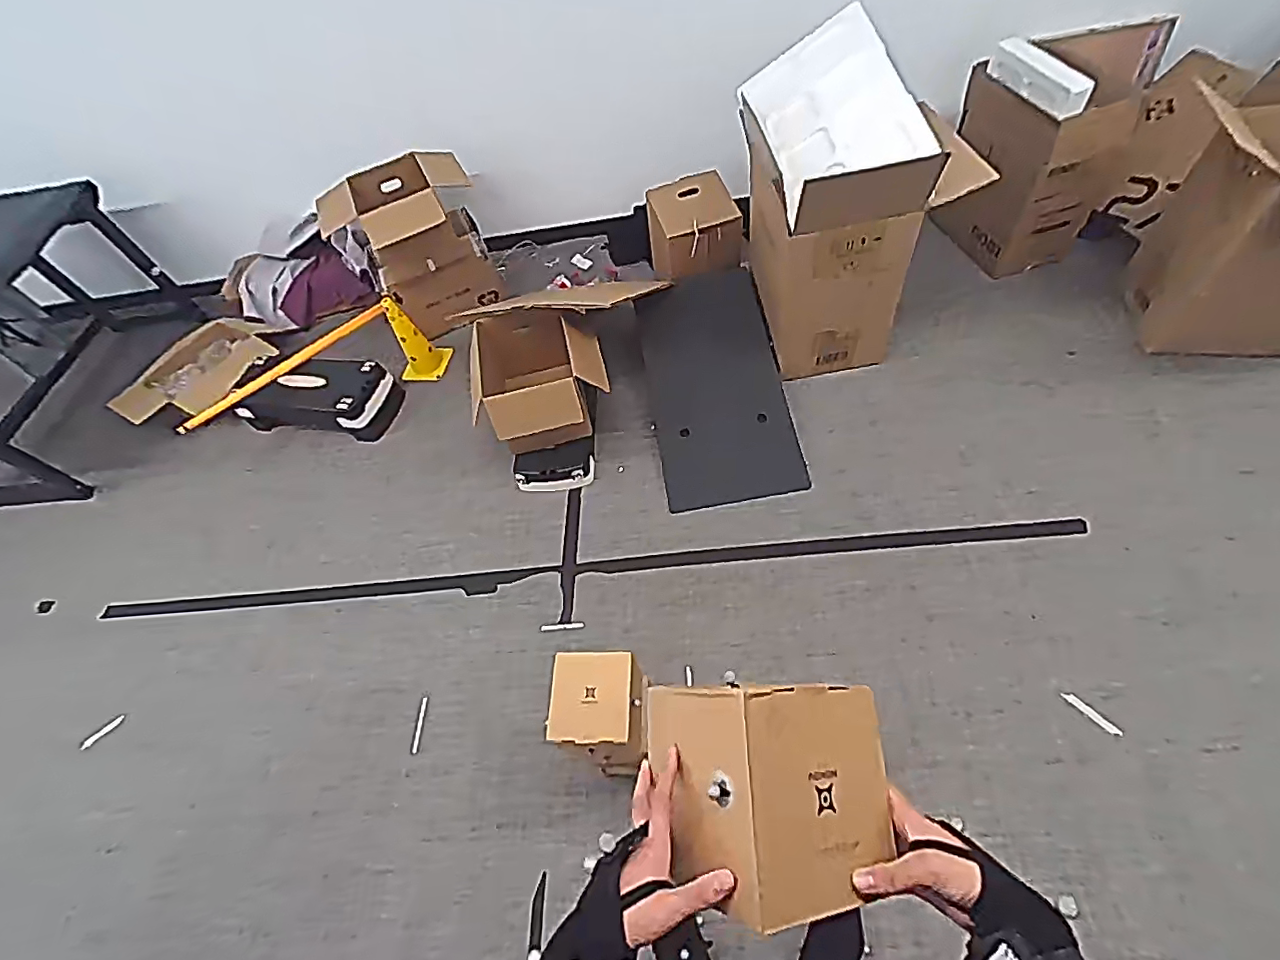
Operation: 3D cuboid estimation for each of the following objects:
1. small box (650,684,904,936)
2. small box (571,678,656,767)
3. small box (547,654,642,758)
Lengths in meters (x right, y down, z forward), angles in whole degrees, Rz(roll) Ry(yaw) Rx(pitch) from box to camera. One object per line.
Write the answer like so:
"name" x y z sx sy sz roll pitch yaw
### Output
"small box" 0.120 0.294 0.528 0.168 0.176 0.179 11 67 -28
"small box" -0.054 0.577 1.279 0.179 0.176 0.168 -4 56 6
"small box" -0.088 0.482 1.151 0.168 0.176 0.179 -3 56 7
